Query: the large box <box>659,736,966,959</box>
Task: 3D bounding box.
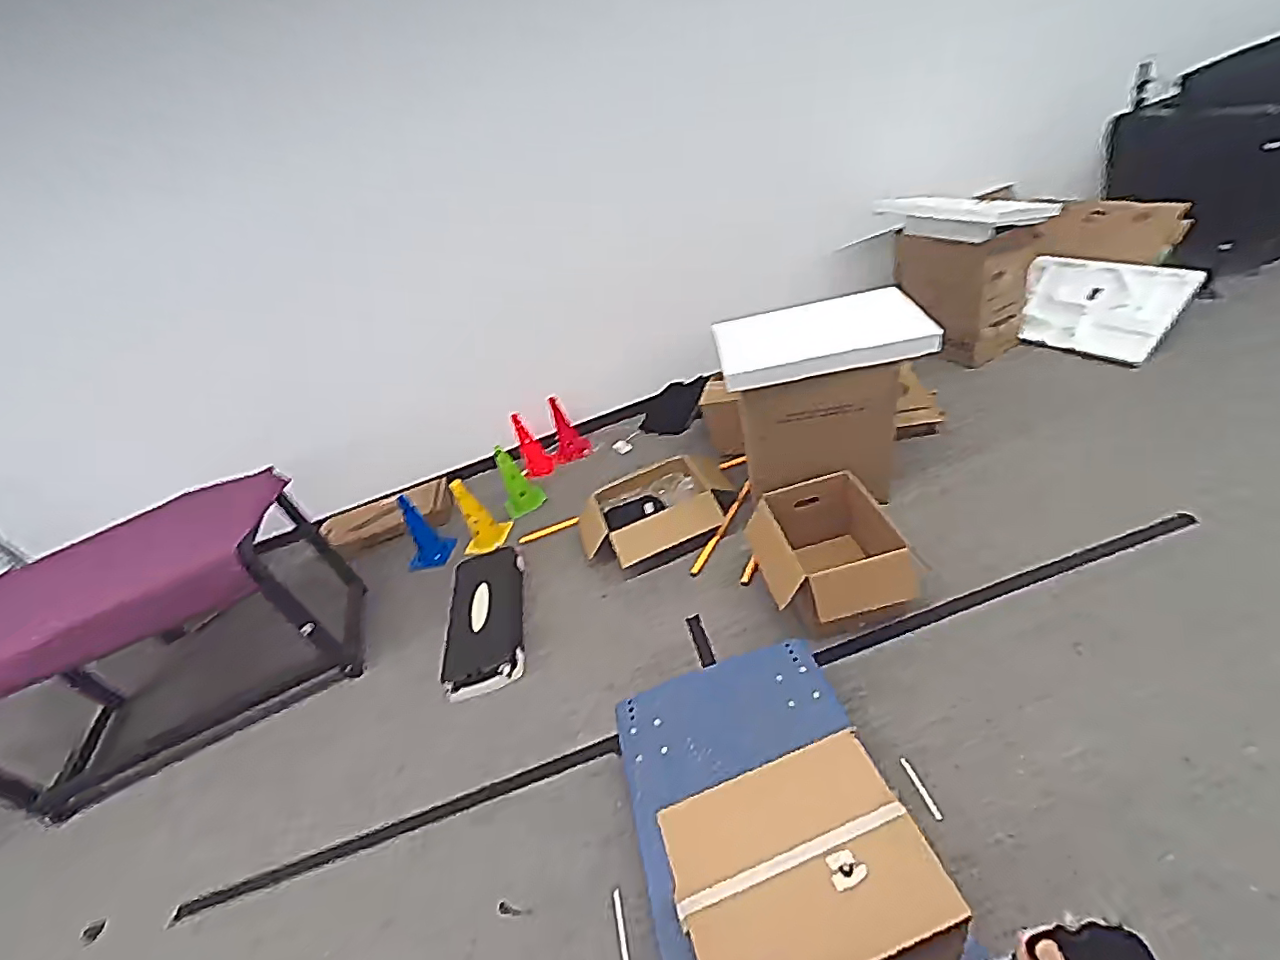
[{"bbox_3d":[0.294,0.756,0.979,0.408,0.320,0.320,-21,35,-5],"label":"large box"}]
